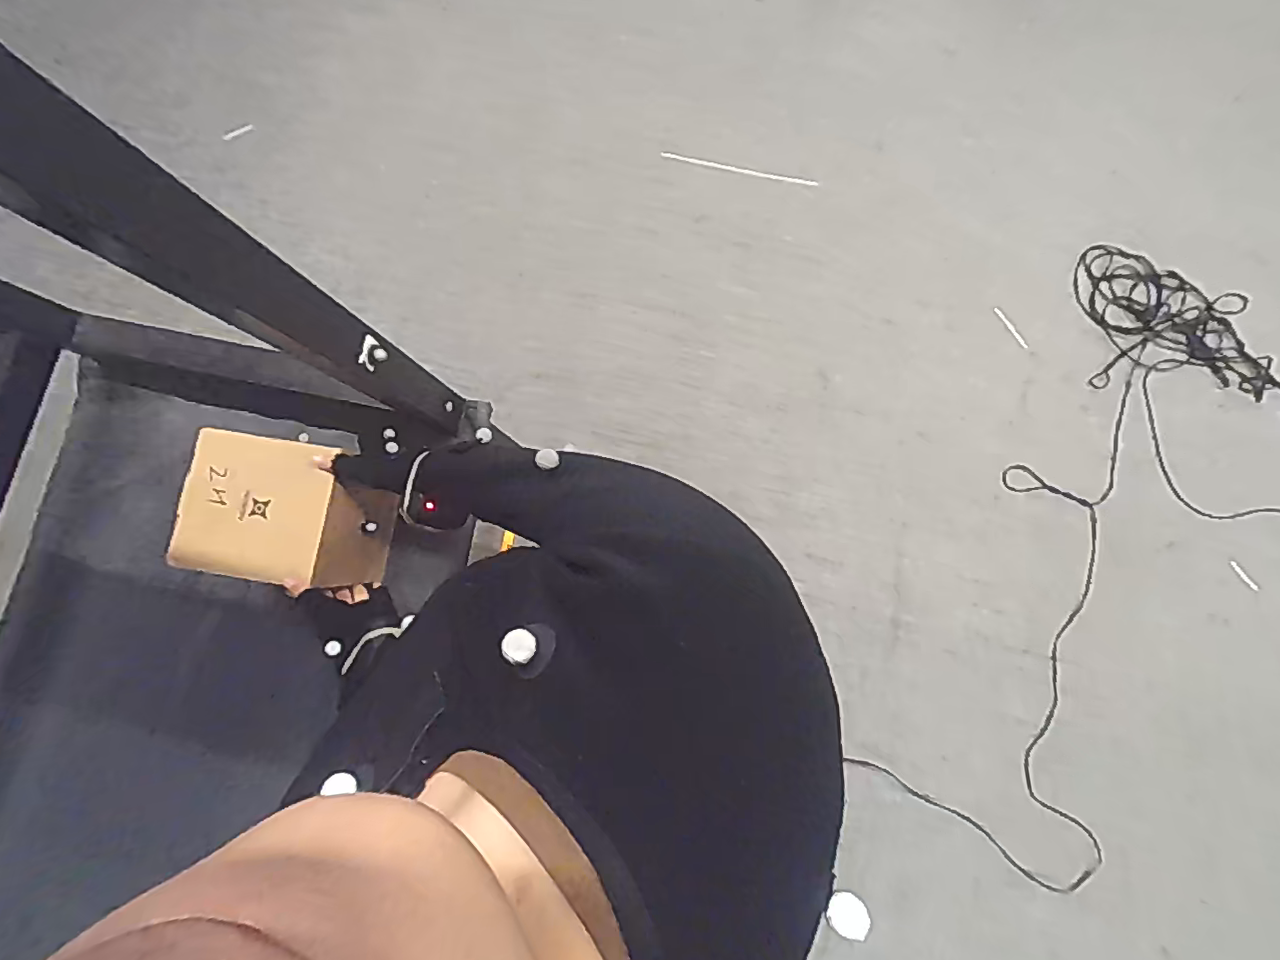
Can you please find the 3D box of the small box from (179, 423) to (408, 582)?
[{"bbox_3d":[-0.433,0.033,0.709,0.179,0.176,0.168,9,83,3],"label":"small box"}]
